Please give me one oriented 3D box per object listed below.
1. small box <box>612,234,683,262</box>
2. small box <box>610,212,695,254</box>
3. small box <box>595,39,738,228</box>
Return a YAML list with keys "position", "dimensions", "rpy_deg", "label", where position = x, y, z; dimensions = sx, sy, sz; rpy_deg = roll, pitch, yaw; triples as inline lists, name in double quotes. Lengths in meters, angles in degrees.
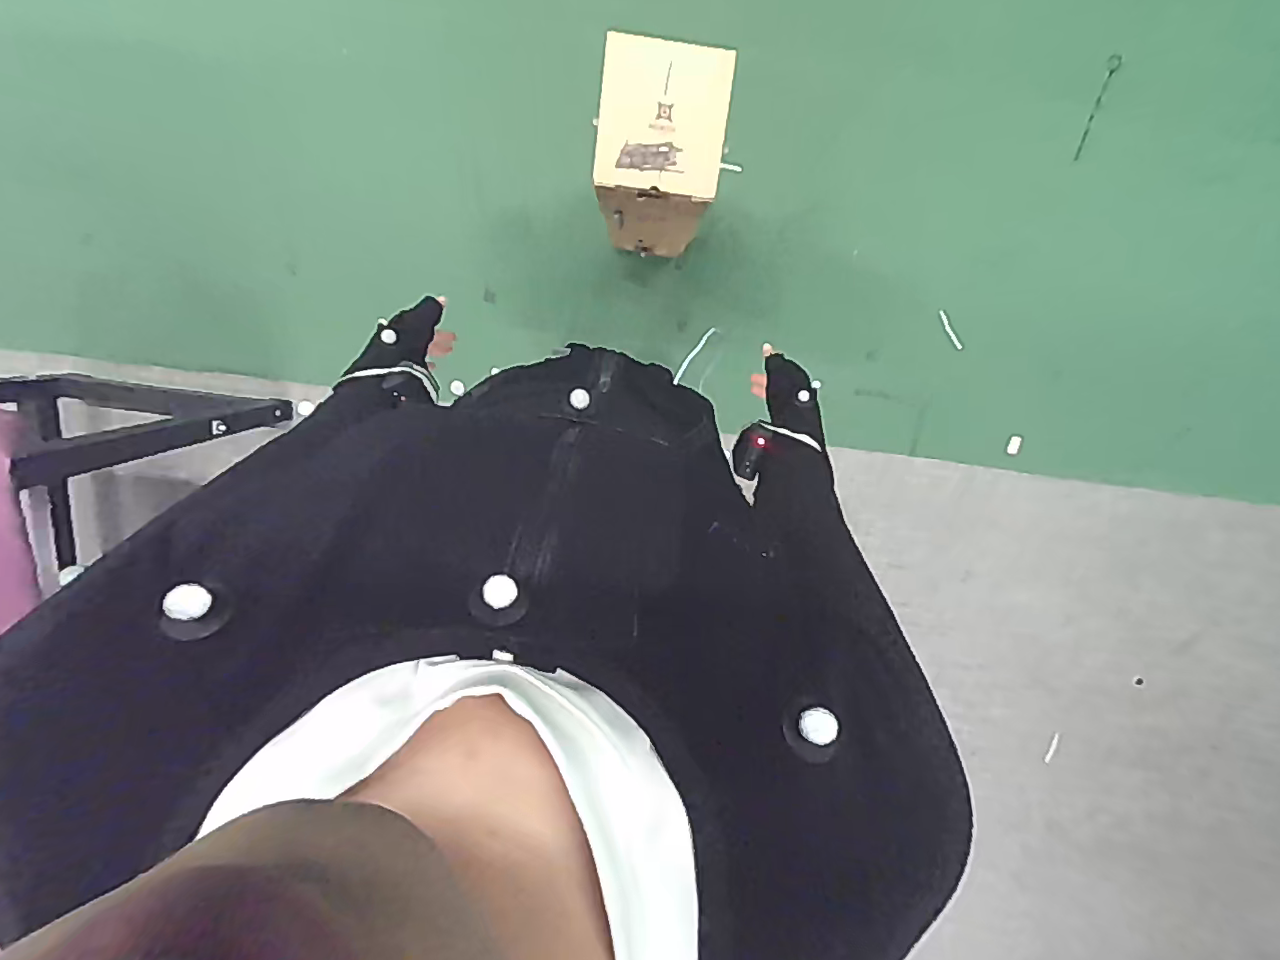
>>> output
- position: [0.030, -0.619, 1.249]
  dimensions: [0.168, 0.176, 0.179]
  rpy_deg: [9, 105, -2]
  label: "small box"
- position: [0.031, -0.571, 1.093]
  dimensions: [0.168, 0.176, 0.179]
  rpy_deg: [7, 105, -3]
  label: "small box"
- position: [0.032, -0.478, 0.777]
  dimensions: [0.168, 0.176, 0.179]
  rpy_deg: [7, 104, -3]
  label: "small box"
